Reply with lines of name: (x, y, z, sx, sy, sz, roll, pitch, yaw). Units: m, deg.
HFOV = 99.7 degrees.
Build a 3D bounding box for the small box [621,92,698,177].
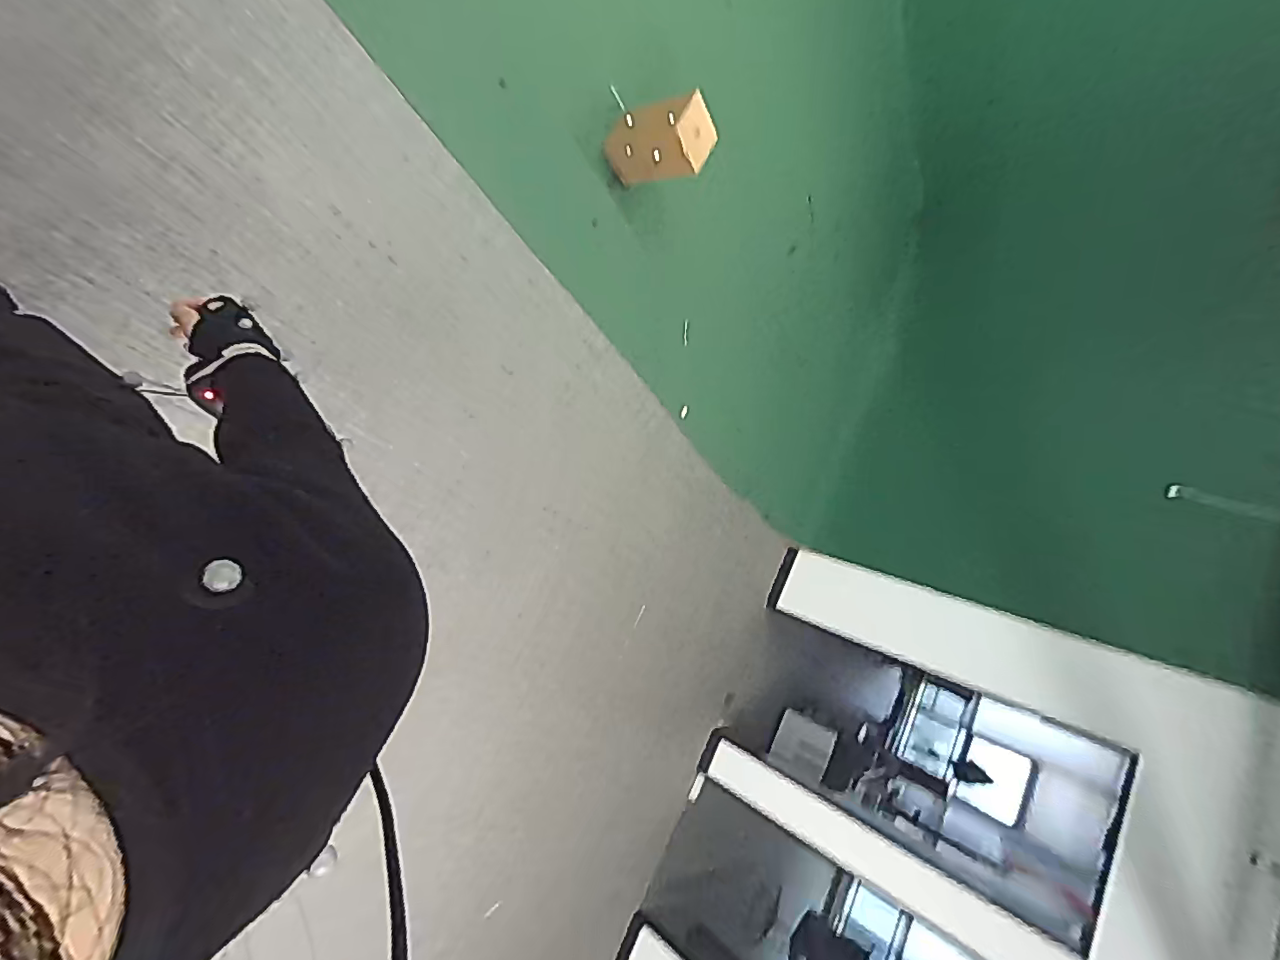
small box: (0.064, -1.148, 1.807, 0.168, 0.176, 0.179, 44, 68, -51)
